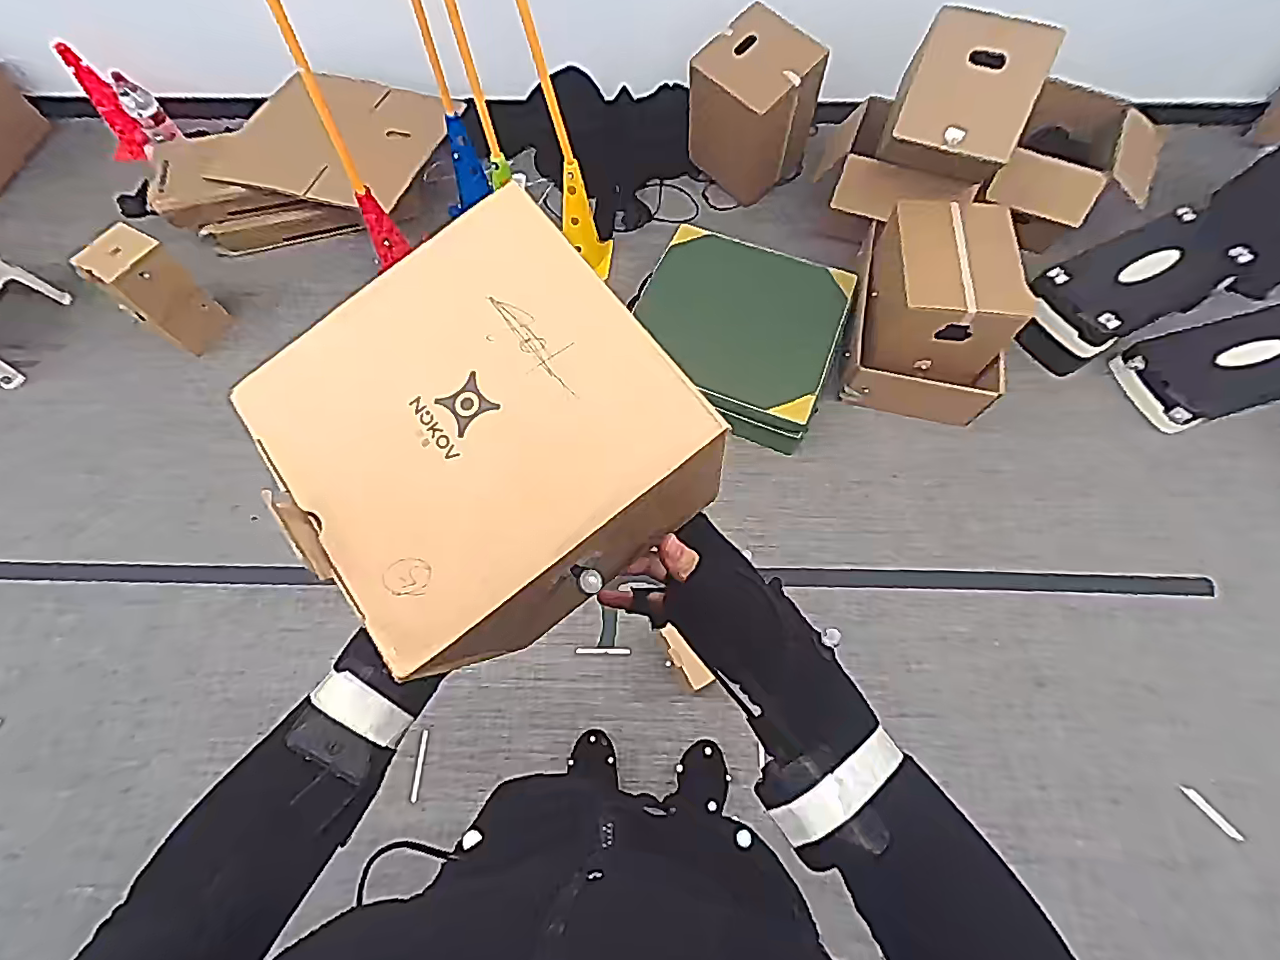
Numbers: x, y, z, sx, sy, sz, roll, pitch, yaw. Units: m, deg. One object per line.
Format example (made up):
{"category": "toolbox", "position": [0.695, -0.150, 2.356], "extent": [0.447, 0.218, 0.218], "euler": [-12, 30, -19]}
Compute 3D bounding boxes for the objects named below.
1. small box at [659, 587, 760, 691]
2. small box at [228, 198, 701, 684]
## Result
{"category": "small box", "position": [0.160, 0.389, 1.301], "extent": [0.179, 0.176, 0.168], "euler": [-29, 68, -13]}
{"category": "small box", "position": [-0.076, -0.010, 0.322], "extent": [0.179, 0.176, 0.168], "euler": [-37, 77, -1]}
